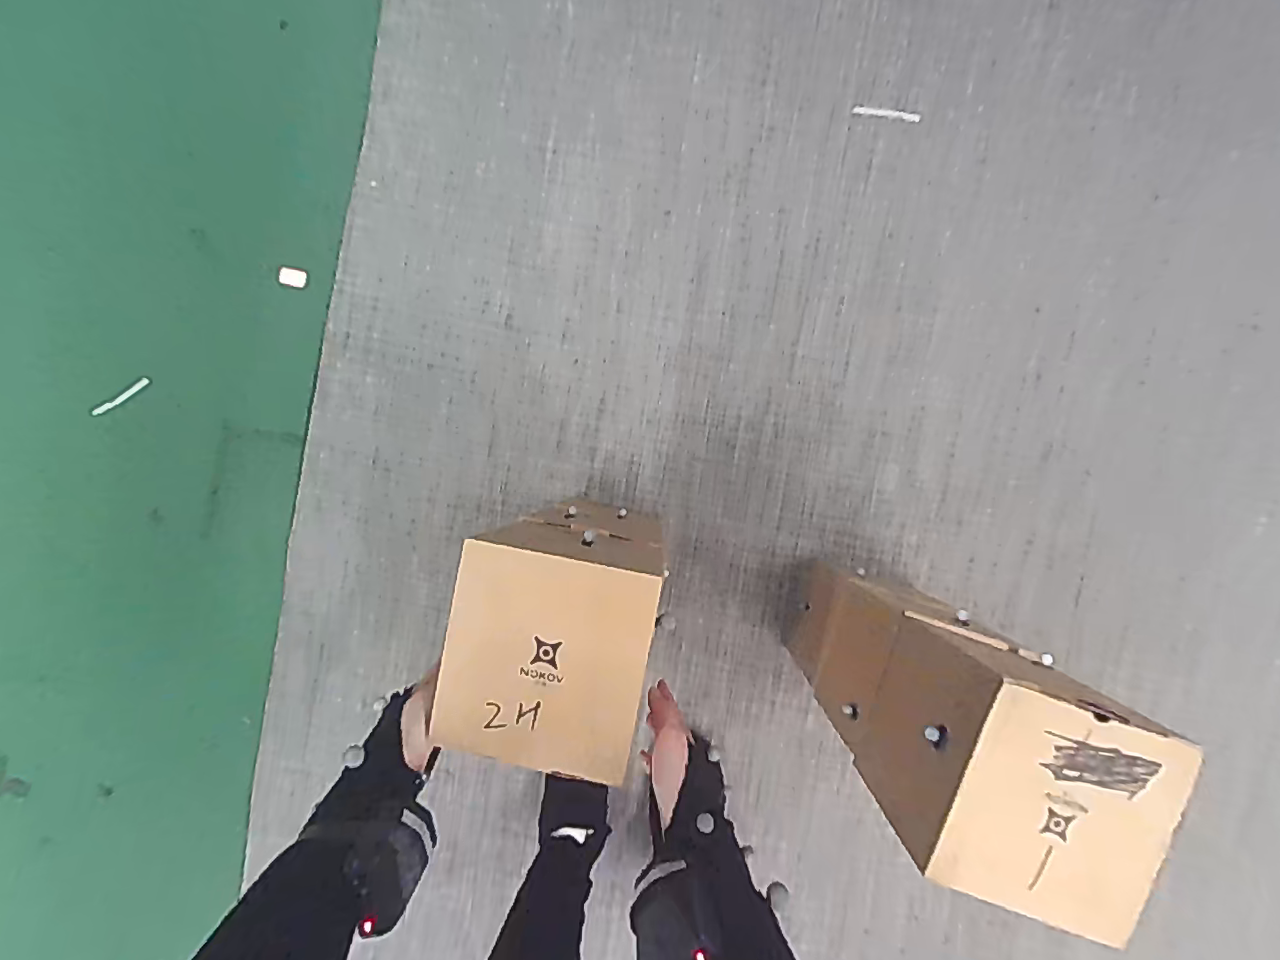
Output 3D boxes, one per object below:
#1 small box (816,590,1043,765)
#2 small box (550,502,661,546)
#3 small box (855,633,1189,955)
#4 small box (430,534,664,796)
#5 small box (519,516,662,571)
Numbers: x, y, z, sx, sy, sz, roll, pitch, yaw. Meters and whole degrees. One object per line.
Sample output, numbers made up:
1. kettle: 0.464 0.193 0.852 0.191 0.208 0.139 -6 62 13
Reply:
1. small box: 0.338 0.254 0.671 0.168 0.176 0.179 18 93 2
2. small box: -0.063 0.142 0.848 0.168 0.176 0.179 14 93 2
3. small box: 0.328 0.268 0.507 0.168 0.176 0.179 19 94 2
4. small box: -0.074 0.156 0.521 0.168 0.176 0.179 11 92 4
5. small box: -0.067 0.148 0.686 0.168 0.176 0.179 11 93 3
